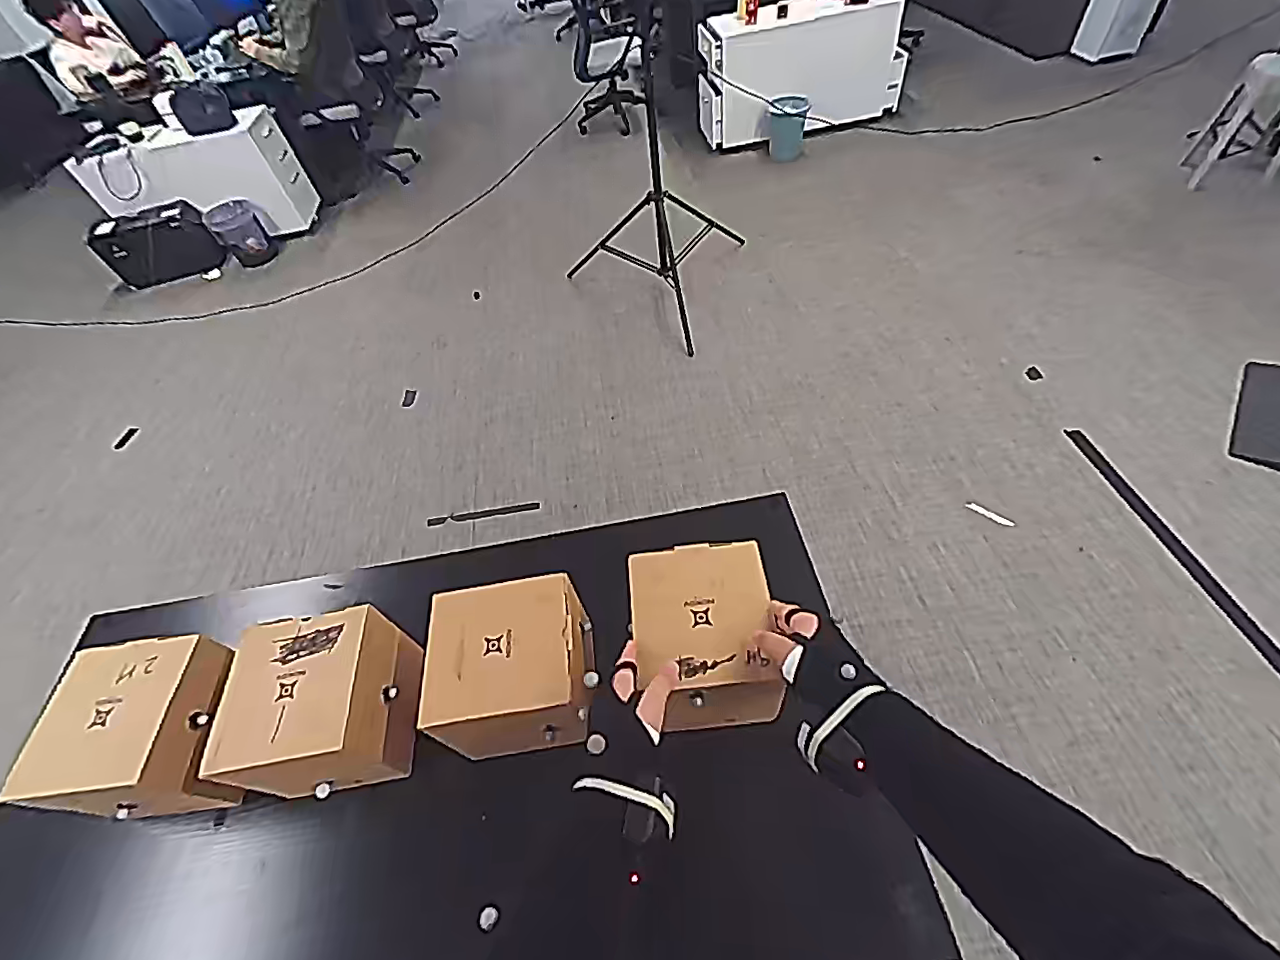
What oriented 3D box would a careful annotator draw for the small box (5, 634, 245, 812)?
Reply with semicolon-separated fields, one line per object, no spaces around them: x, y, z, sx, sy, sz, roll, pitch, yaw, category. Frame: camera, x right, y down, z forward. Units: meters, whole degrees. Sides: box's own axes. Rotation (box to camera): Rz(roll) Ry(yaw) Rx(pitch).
-0.626;0.326;0.712;0.168;0.176;0.179;-8;51;2;small box

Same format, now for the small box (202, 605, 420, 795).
-0.404;0.290;0.705;0.168;0.176;0.179;-11;53;-1;small box

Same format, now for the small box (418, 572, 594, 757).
-0.160;0.244;0.706;0.179;0.176;0.168;-11;50;1;small box

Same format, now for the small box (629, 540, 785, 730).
0.078;0.201;0.695;0.168;0.176;0.179;-7;50;3;small box
